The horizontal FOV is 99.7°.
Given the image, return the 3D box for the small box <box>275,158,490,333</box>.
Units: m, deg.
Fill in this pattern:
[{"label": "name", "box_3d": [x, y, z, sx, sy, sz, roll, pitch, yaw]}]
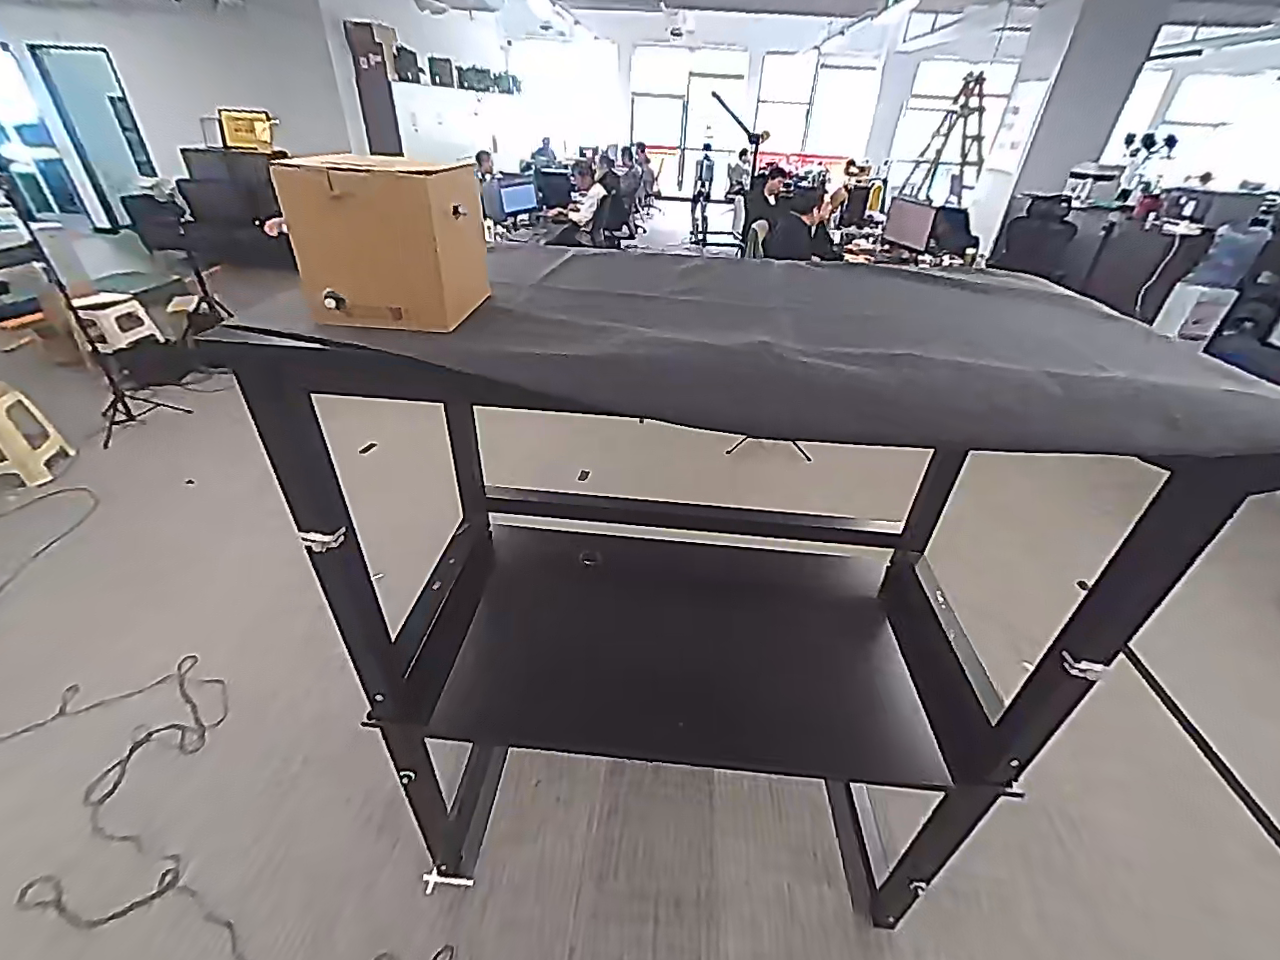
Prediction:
[{"label": "small box", "box_3d": [-0.292, -0.289, 0.663, 0.168, 0.176, 0.179, 4, 34, 1]}]
